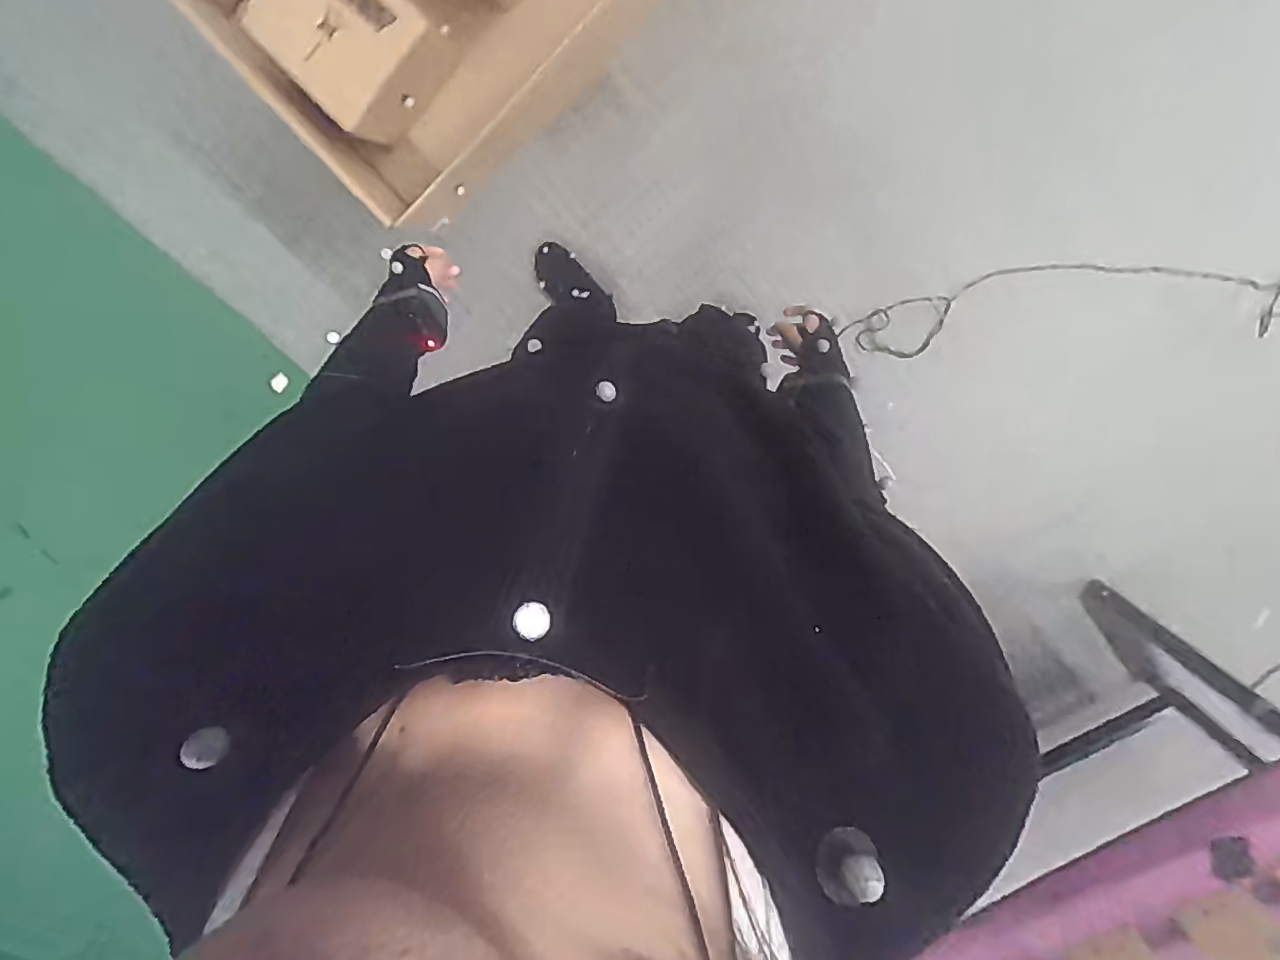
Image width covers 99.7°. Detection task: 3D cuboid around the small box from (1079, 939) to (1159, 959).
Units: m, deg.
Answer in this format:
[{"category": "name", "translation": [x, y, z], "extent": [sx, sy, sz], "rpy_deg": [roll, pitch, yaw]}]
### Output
[{"category": "small box", "translation": [1.195, 1.233, 1.277], "extent": [0.168, 0.176, 0.179], "rpy_deg": [-35, 110, 13]}]
